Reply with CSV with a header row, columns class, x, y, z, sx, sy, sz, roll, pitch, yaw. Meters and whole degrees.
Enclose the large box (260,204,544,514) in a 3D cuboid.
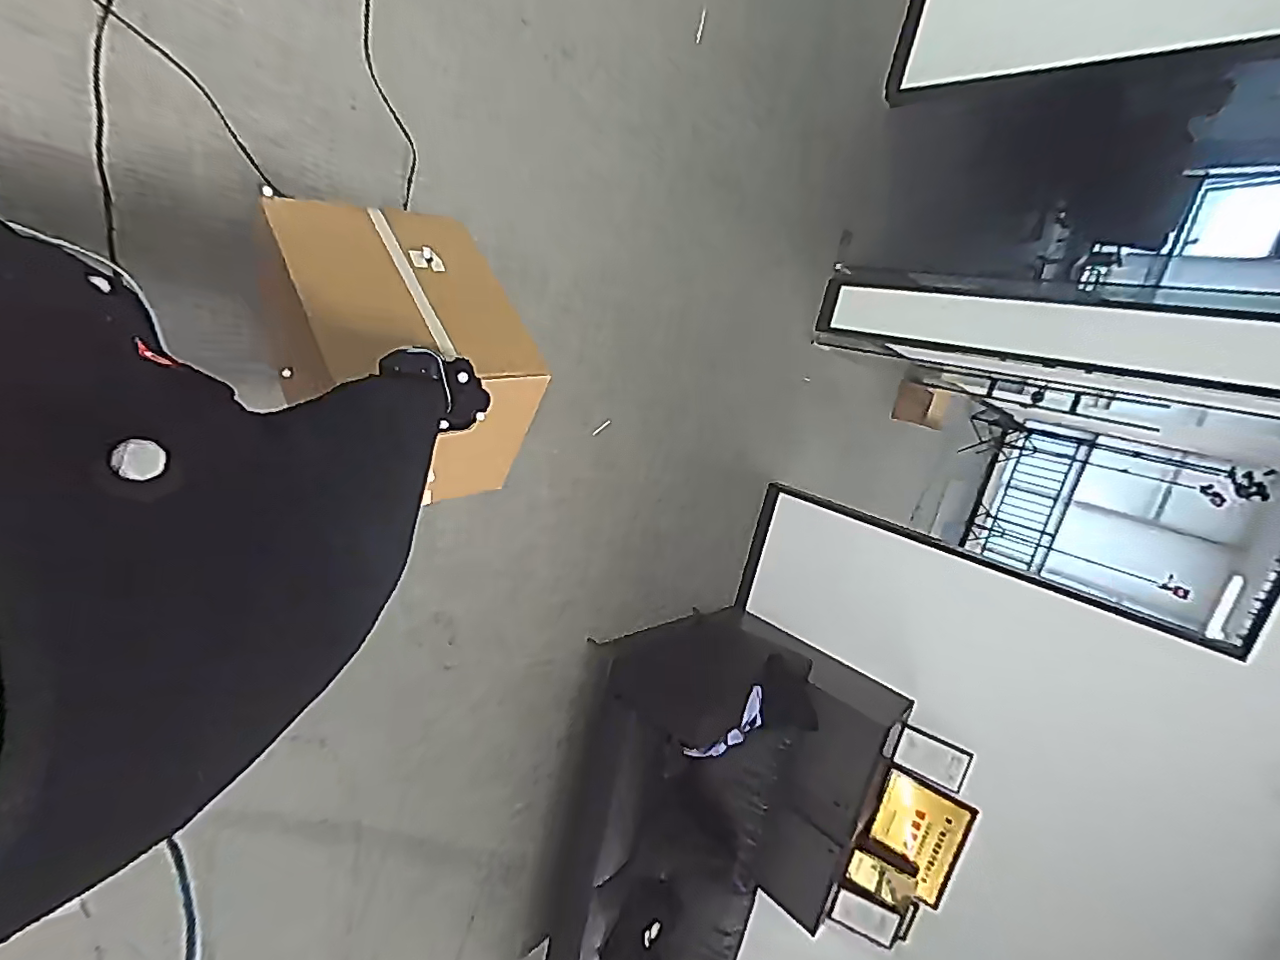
class,x,y,z,sx,sy,sz,roll,pitch,yaw
large box,-0.426,-0.210,0.950,0.320,0.408,0.320,-13,151,-39
